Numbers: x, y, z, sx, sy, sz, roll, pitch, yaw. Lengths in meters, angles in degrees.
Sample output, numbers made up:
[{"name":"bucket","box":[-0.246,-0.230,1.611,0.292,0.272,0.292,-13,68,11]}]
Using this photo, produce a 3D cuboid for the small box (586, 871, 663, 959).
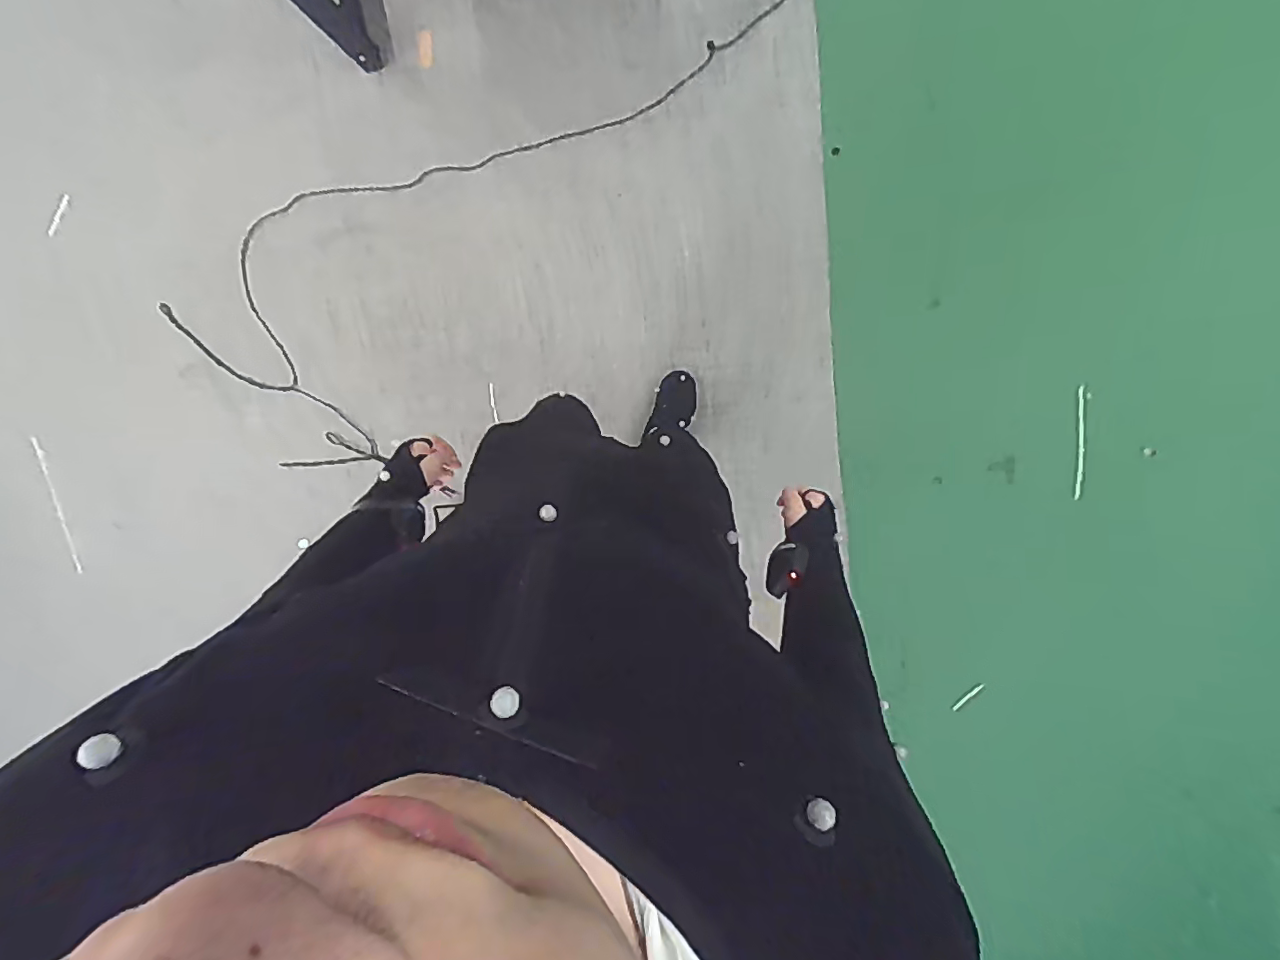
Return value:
[{"name":"small box","box":[-0.032,1.137,1.367,0.168,0.176,0.179,-5,100,6]}]

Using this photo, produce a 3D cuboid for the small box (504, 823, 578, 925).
[{"name":"small box","box":[-0.277,1.125,1.550,0.168,0.176,0.179,-5,101,3]}]
